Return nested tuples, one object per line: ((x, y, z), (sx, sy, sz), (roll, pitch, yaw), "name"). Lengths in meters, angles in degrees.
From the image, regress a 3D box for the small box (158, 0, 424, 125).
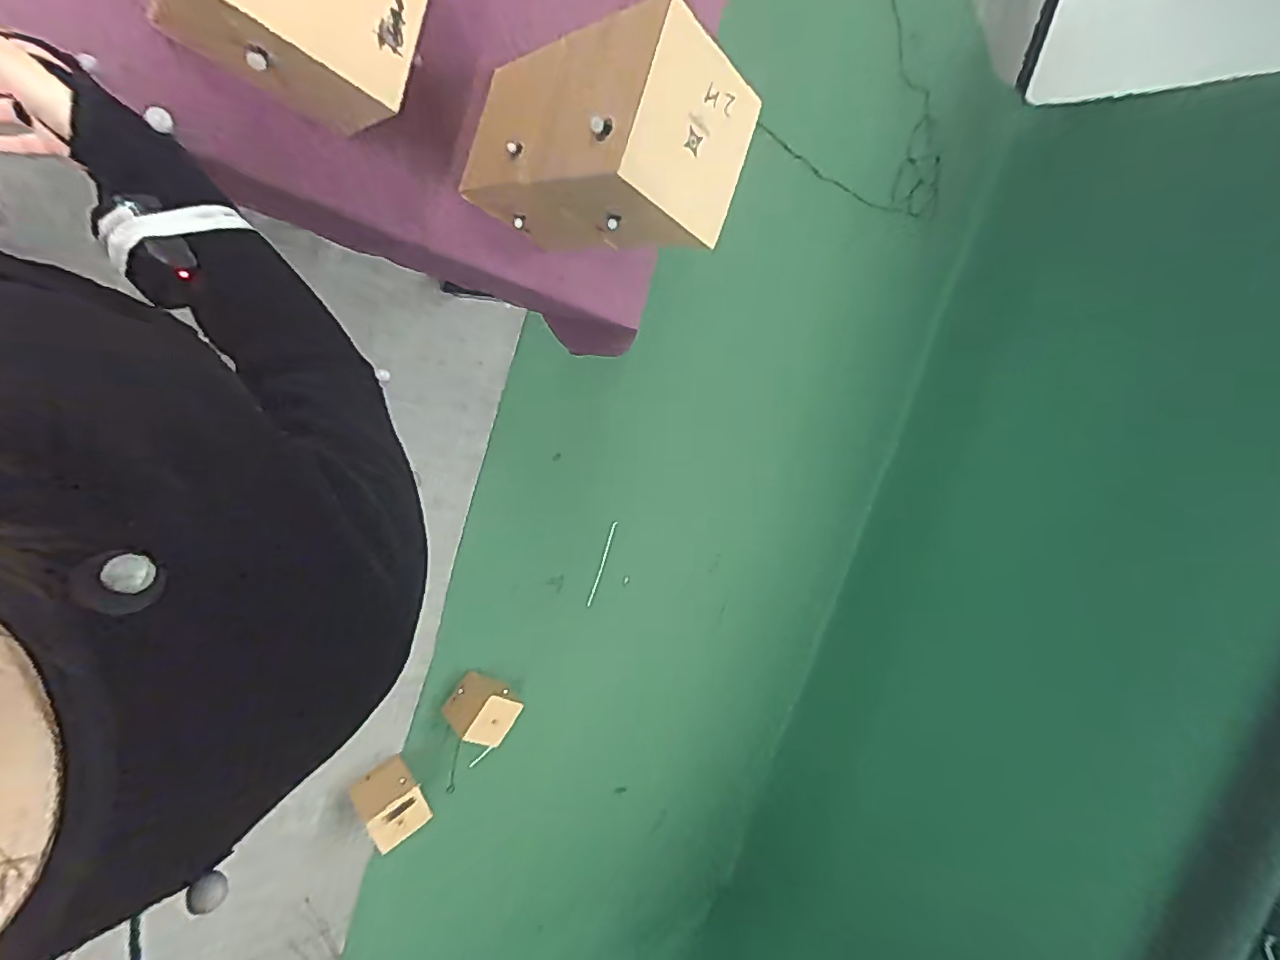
((-0.323, -0.471, 0.508), (0.179, 0.176, 0.168), (13, 98, -46), "small box")

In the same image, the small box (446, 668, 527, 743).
((-0.540, 0.788, 1.899), (0.168, 0.176, 0.179), (-56, 137, -12), "small box")

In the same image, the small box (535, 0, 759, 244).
((0.002, -0.393, 0.624), (0.168, 0.176, 0.179), (12, 98, -47), "small box")

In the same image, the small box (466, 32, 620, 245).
((-0.111, -0.442, 0.734), (0.168, 0.176, 0.179), (14, 97, -47), "small box")
